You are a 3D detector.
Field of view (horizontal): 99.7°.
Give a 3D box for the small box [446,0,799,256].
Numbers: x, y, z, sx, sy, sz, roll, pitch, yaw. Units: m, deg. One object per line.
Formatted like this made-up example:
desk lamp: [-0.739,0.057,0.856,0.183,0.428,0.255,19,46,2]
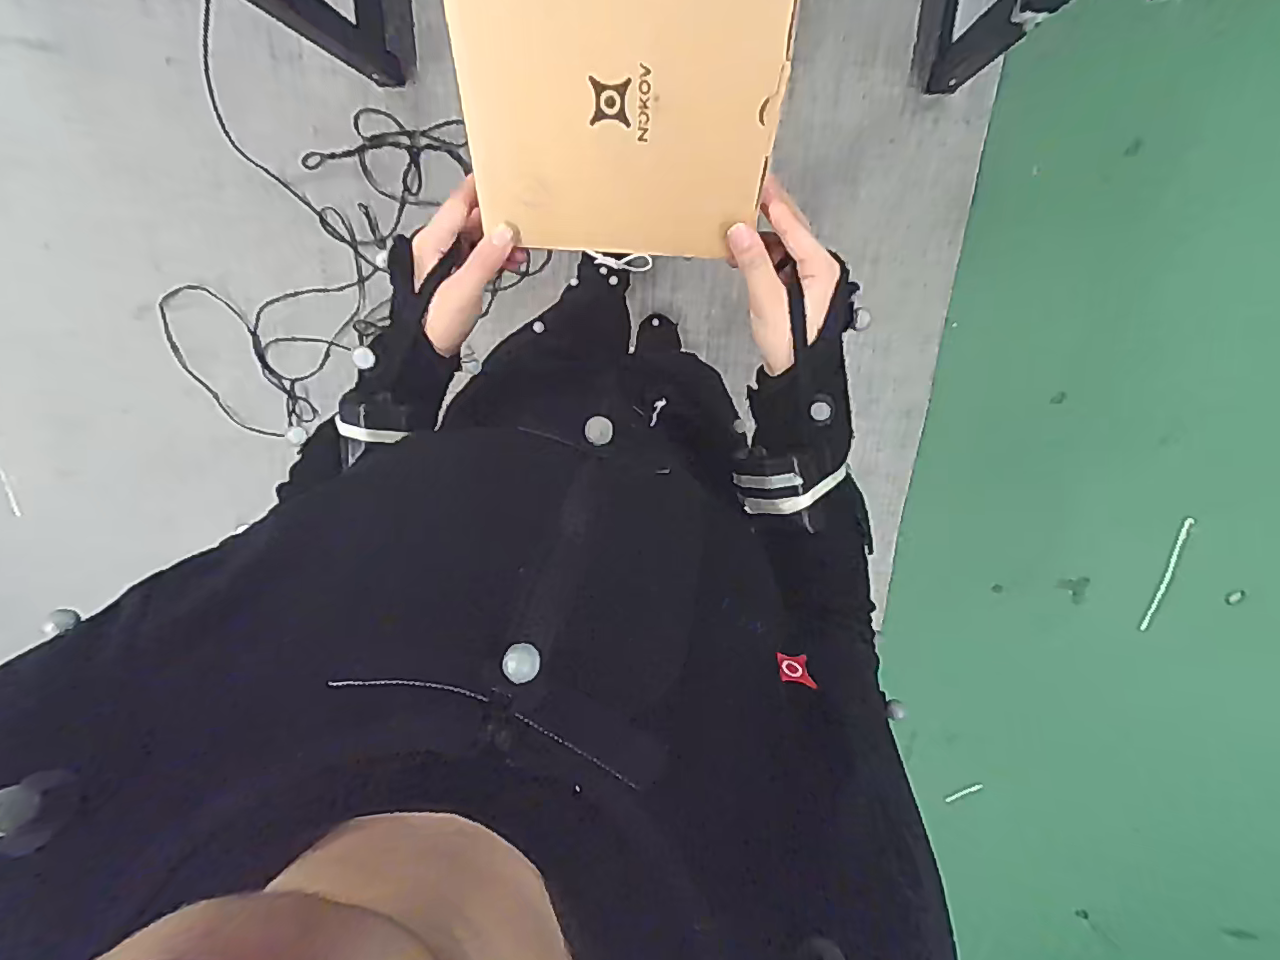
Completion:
small box: [-0.007,-0.265,0.348,0.179,0.176,0.168,3,137,0]
